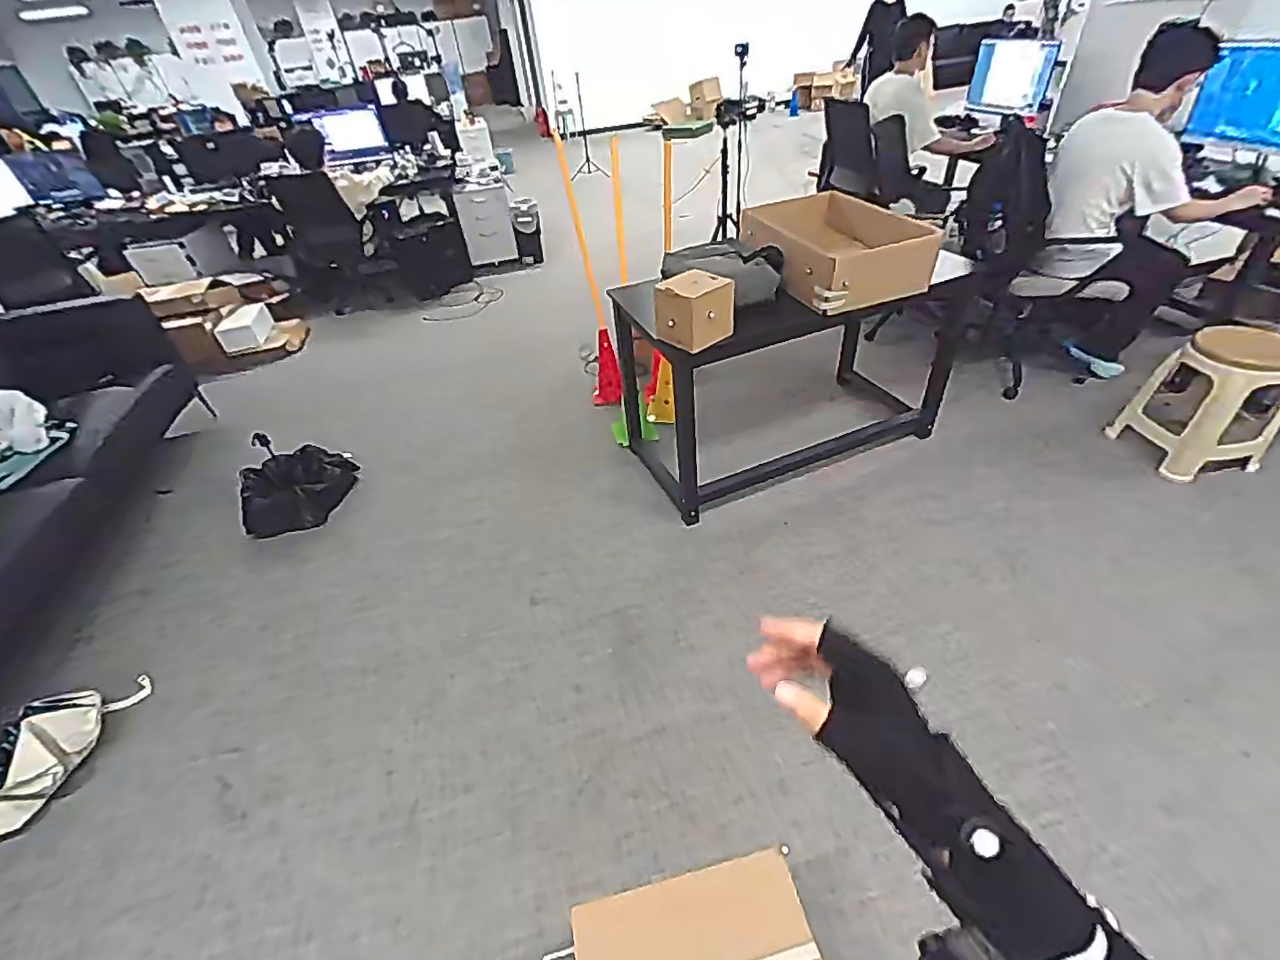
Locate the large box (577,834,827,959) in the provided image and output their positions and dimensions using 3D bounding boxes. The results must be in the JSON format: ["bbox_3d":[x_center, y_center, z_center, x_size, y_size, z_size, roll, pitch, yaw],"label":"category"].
[{"bbox_3d":[0.123,0.926,0.992,0.408,0.320,0.320,-13,41,-6],"label":"large box"}]
